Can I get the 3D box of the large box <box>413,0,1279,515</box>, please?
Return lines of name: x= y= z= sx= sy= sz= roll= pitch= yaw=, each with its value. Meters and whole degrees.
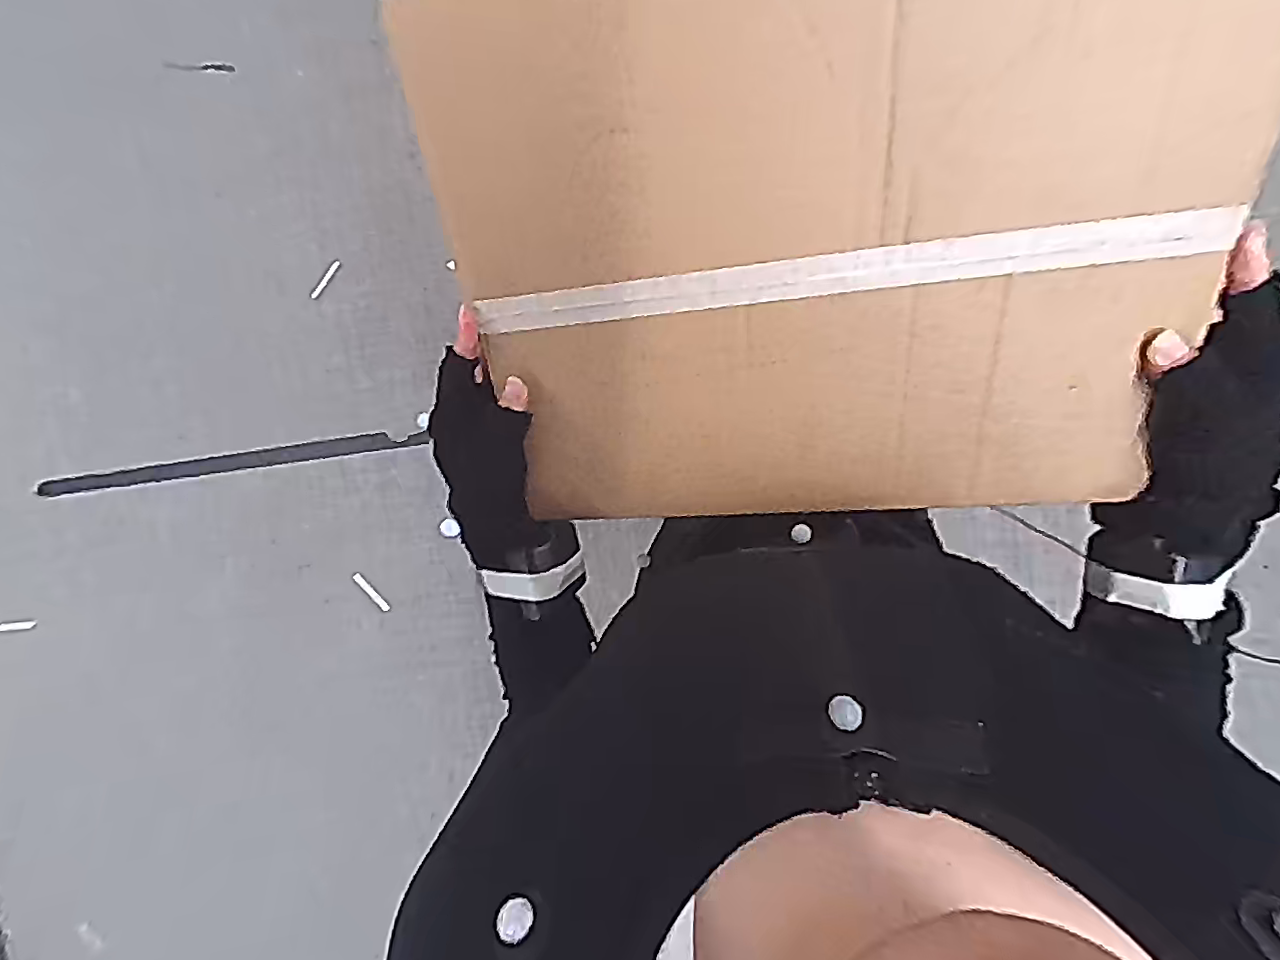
large box: x=0.115 y=-0.189 z=0.438 sx=0.408 sy=0.320 sz=0.320 roll=-3 pitch=120 yaw=11
